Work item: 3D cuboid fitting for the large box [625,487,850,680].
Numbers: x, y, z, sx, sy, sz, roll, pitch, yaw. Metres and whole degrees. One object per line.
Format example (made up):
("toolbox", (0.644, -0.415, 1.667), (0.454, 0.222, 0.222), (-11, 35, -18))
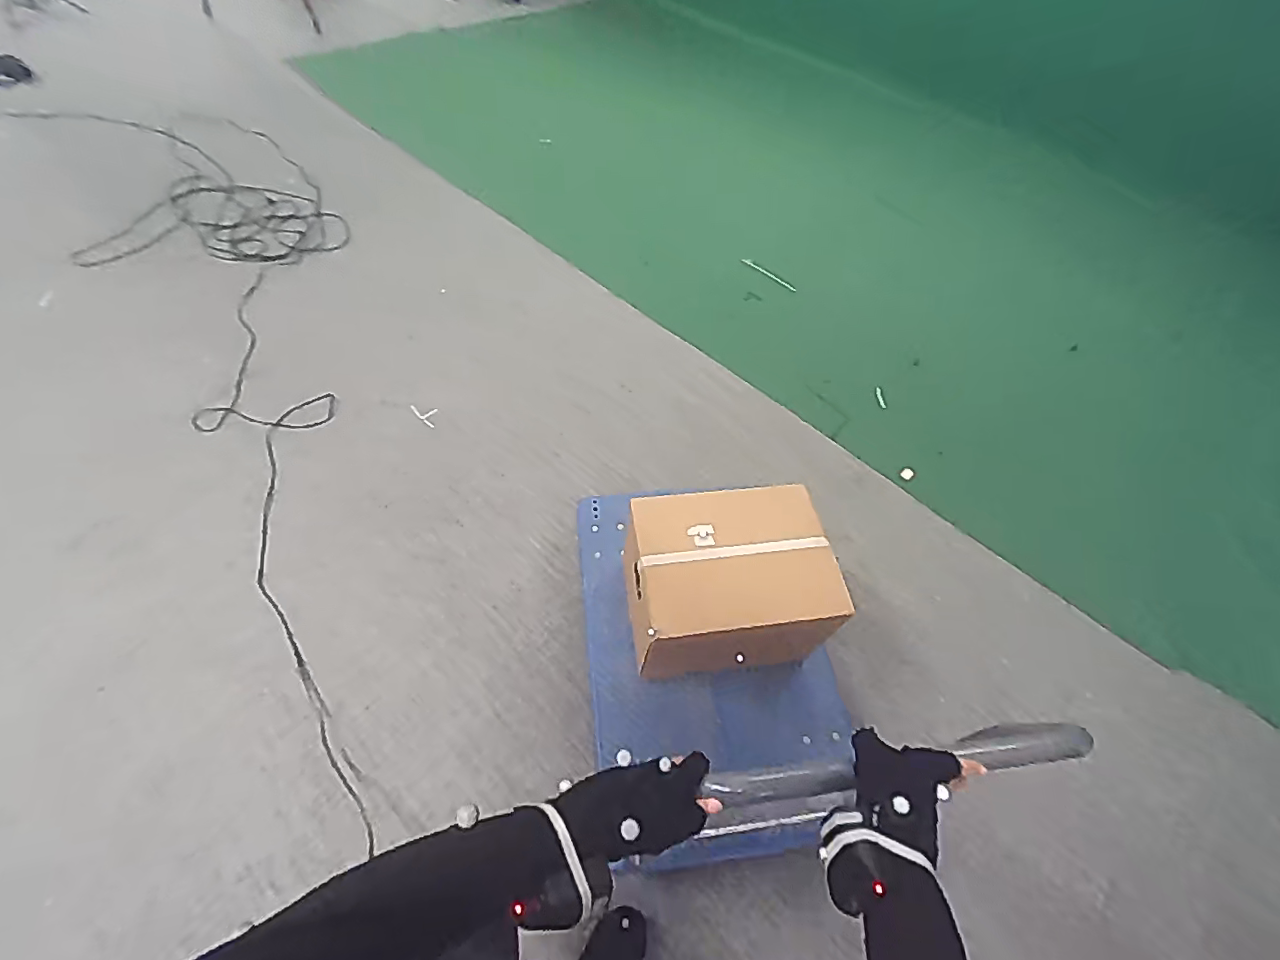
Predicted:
("large box", (0.190, 0.243, 1.244), (0.408, 0.320, 0.320), (-5, 56, -9))
